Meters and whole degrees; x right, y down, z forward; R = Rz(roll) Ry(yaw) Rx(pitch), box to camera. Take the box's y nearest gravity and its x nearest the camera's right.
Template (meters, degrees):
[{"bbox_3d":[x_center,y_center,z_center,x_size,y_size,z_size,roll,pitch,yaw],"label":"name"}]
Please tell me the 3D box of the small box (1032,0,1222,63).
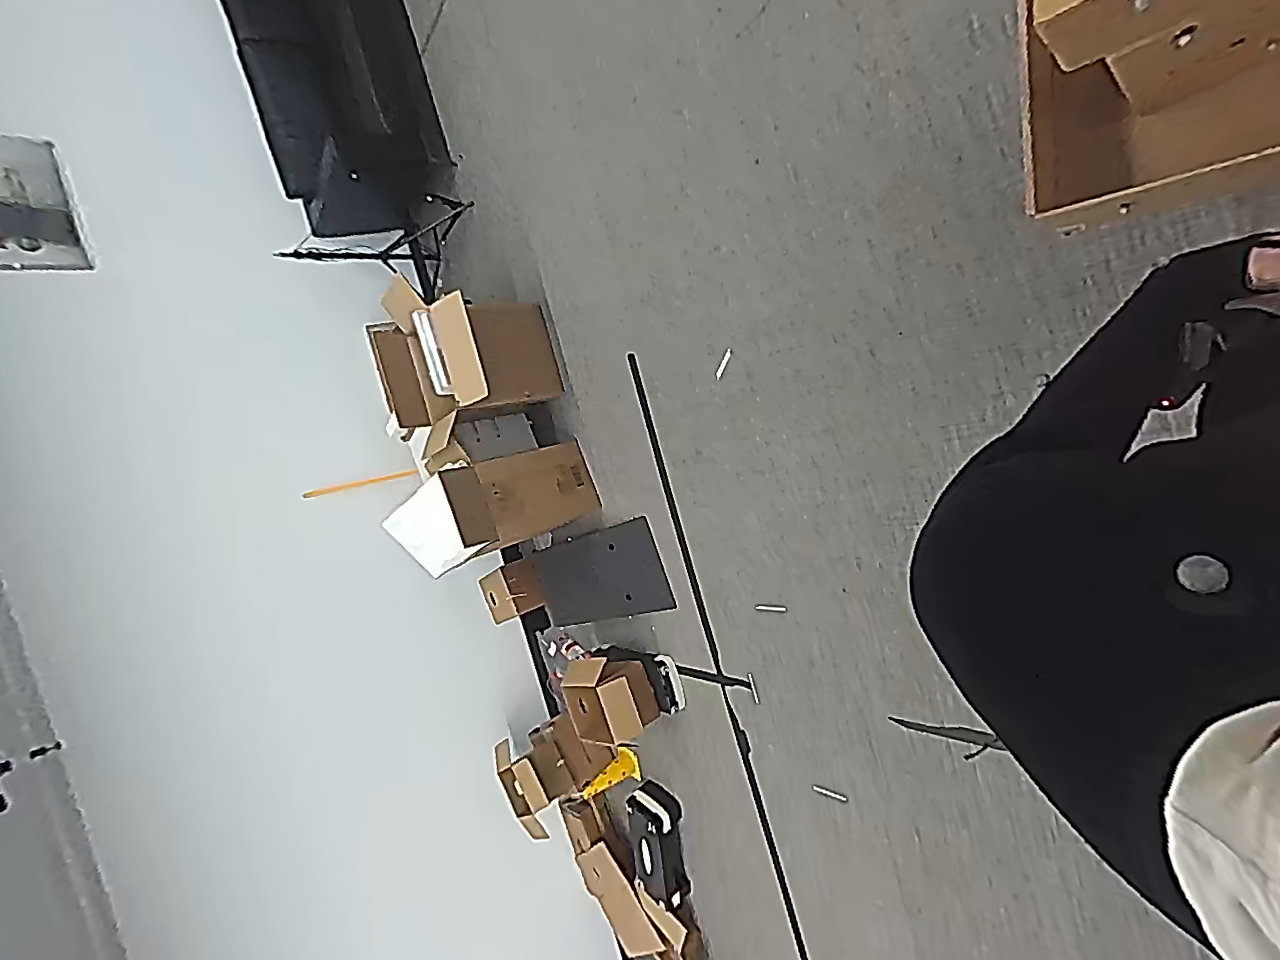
[{"bbox_3d":[0.504,-0.557,0.525,0.179,0.176,0.168,1,104,49],"label":"small box"}]
